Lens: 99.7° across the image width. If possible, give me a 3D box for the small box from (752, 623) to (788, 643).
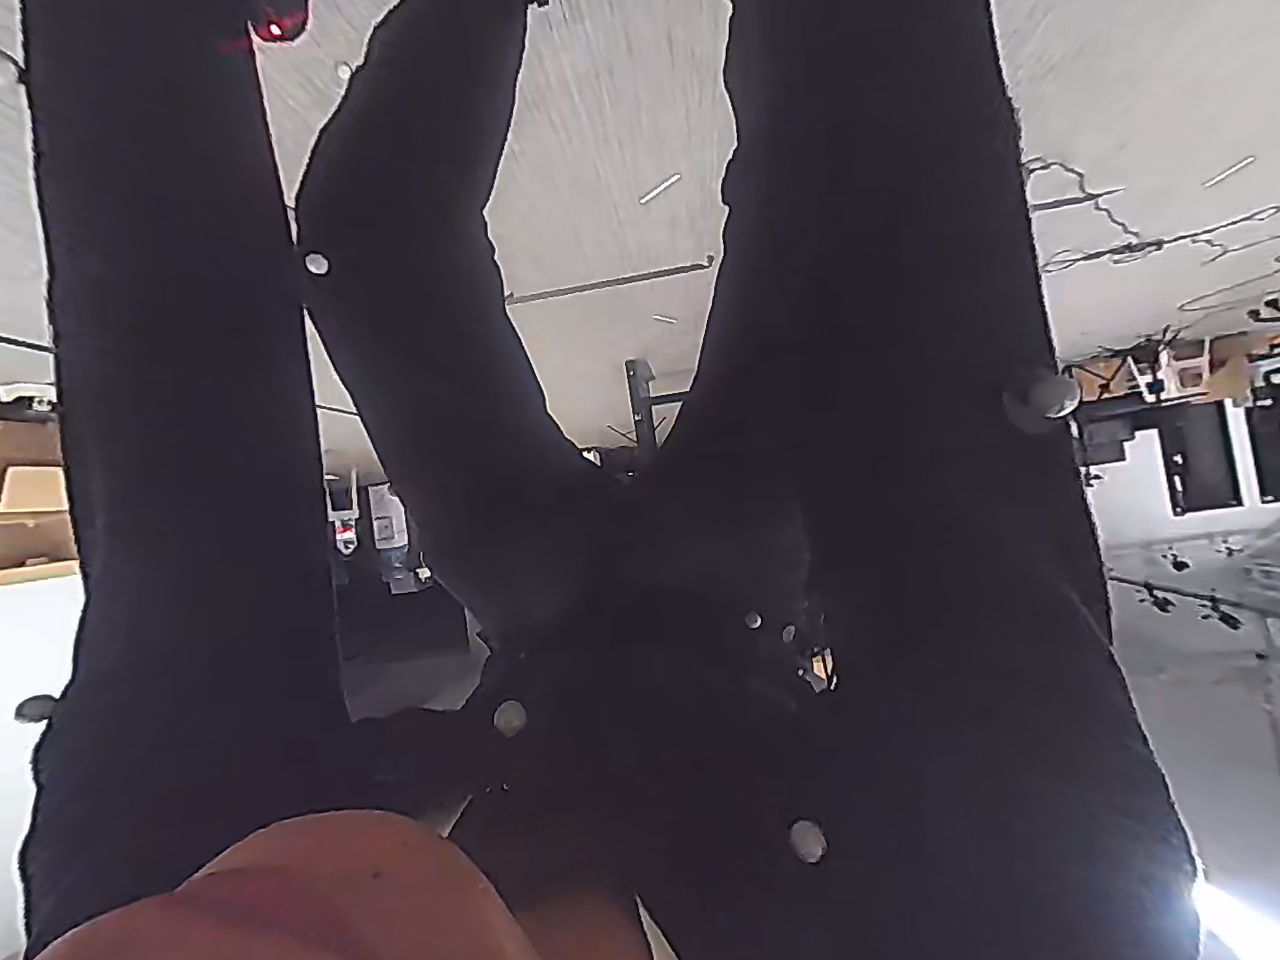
[{"bbox_3d":[0.697,0.871,2.889,0.168,0.176,0.179,-9,178,6],"label":"small box"}]
